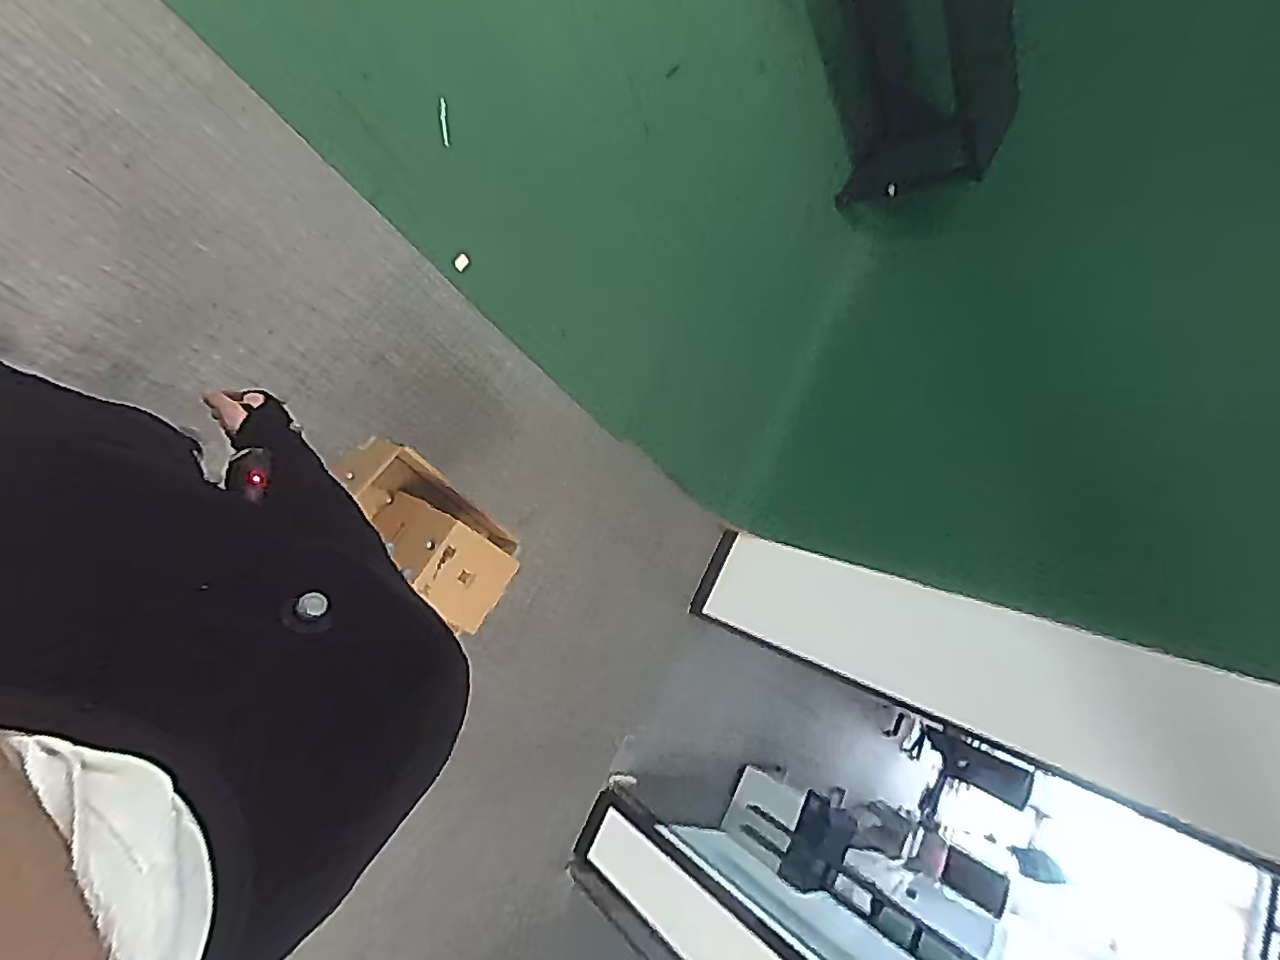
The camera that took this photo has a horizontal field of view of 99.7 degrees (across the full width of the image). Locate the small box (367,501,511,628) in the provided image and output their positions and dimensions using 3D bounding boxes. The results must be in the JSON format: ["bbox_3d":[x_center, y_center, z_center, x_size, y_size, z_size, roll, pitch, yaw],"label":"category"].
[{"bbox_3d":[-0.402,0.162,1.082,0.168,0.176,0.179,-57,133,-17],"label":"small box"}]

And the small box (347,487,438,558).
[{"bbox_3d":[-0.510,0.130,1.201,0.168,0.176,0.179,-55,132,-18],"label":"small box"}]
